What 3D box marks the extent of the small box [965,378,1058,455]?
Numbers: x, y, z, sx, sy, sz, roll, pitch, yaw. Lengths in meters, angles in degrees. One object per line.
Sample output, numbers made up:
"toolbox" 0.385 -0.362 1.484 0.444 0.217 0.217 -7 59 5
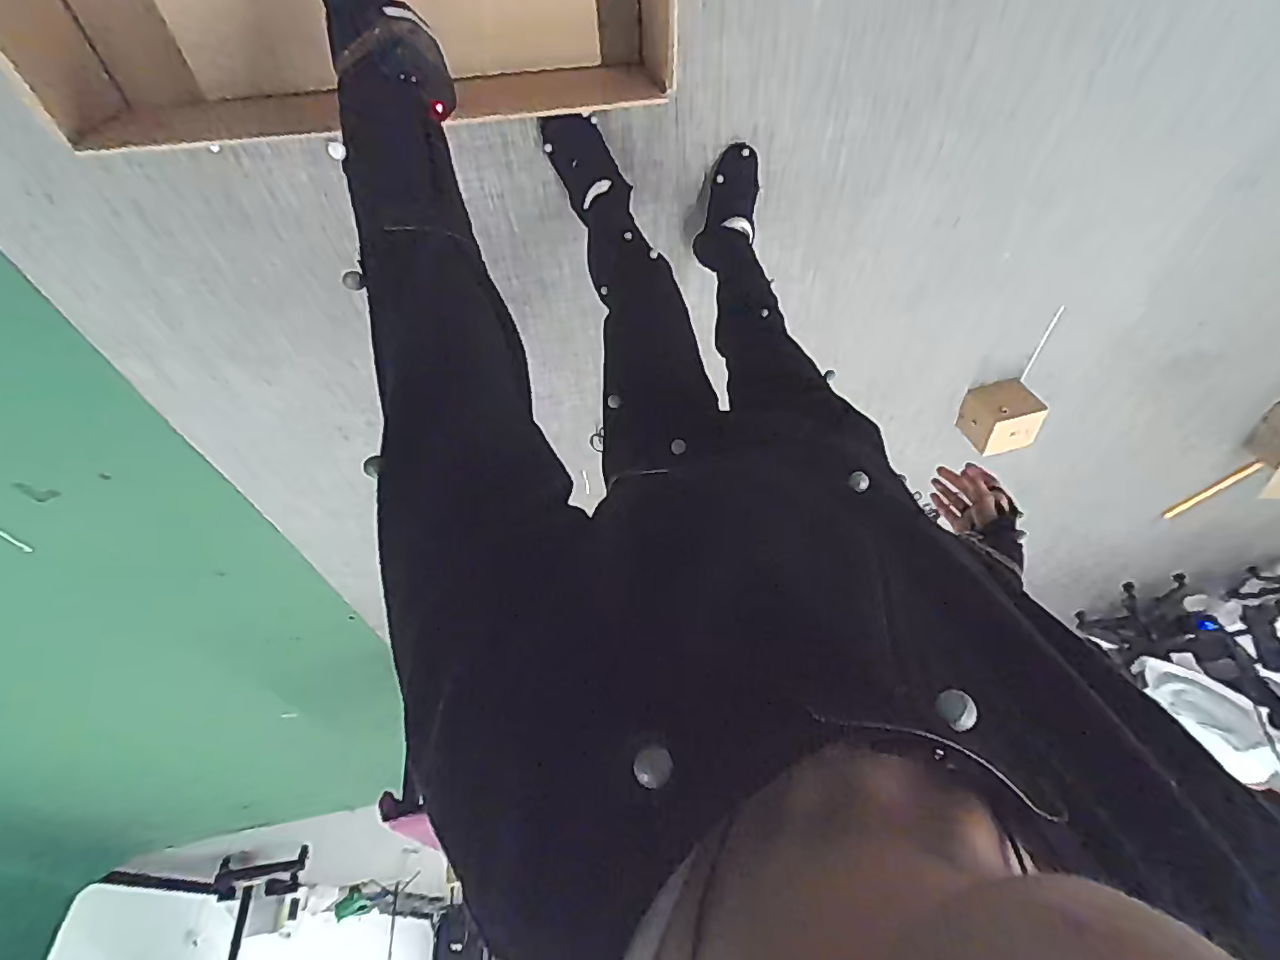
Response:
"small box" 1.231 -0.215 1.809 0.179 0.176 0.168 -15 138 2
